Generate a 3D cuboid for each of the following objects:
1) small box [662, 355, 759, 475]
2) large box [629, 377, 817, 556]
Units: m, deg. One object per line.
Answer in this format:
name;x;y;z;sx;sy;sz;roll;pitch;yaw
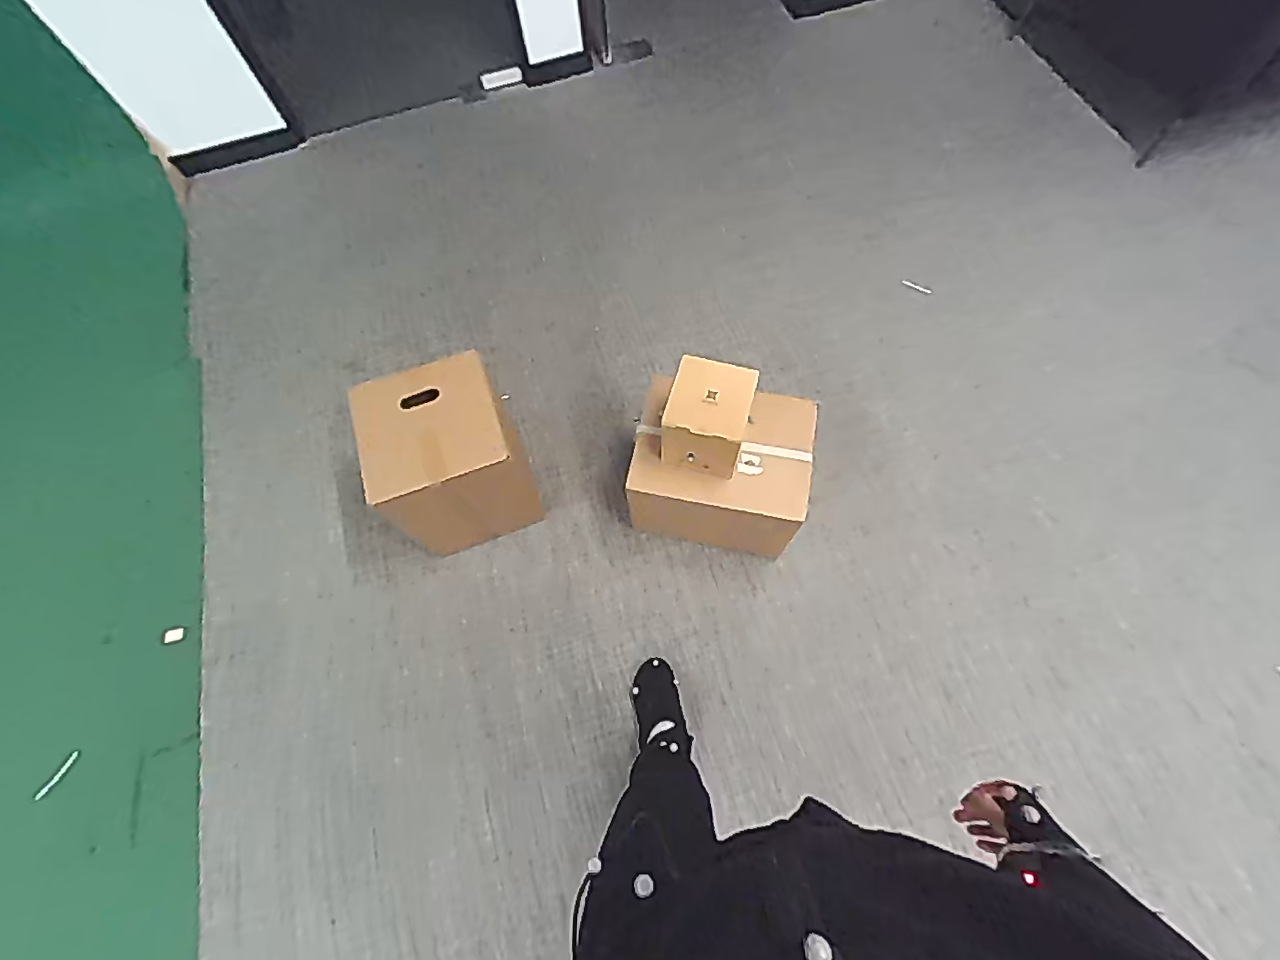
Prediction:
small box;0.146;-0.135;1.159;0.168;0.176;0.179;14;68;8
large box;0.197;-0.024;1.373;0.408;0.320;0.320;11;68;6
